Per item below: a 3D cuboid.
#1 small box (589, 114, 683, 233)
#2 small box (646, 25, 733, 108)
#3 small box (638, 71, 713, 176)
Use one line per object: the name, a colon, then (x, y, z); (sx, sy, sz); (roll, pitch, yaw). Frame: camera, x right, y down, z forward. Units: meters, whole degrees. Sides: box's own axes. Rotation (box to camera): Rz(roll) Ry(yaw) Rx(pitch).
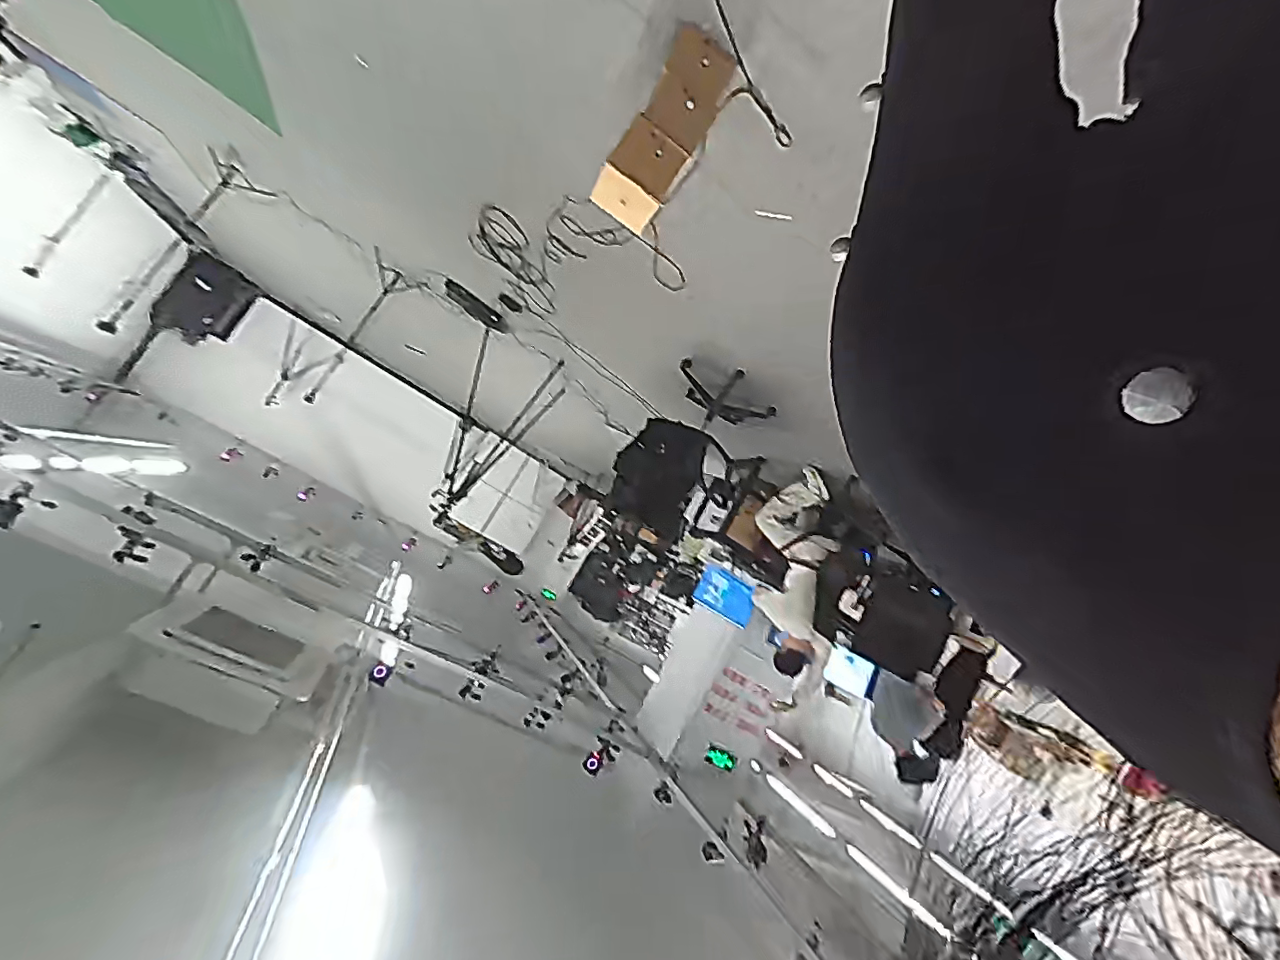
small box: (-0.009, -0.810, 1.438); (0.168, 0.176, 0.179); (32, 168, -14)
small box: (0.136, -1.095, 1.505); (0.168, 0.176, 0.179); (32, 169, -12)
small box: (0.072, -0.946, 1.475); (0.168, 0.176, 0.179); (32, 168, -15)
